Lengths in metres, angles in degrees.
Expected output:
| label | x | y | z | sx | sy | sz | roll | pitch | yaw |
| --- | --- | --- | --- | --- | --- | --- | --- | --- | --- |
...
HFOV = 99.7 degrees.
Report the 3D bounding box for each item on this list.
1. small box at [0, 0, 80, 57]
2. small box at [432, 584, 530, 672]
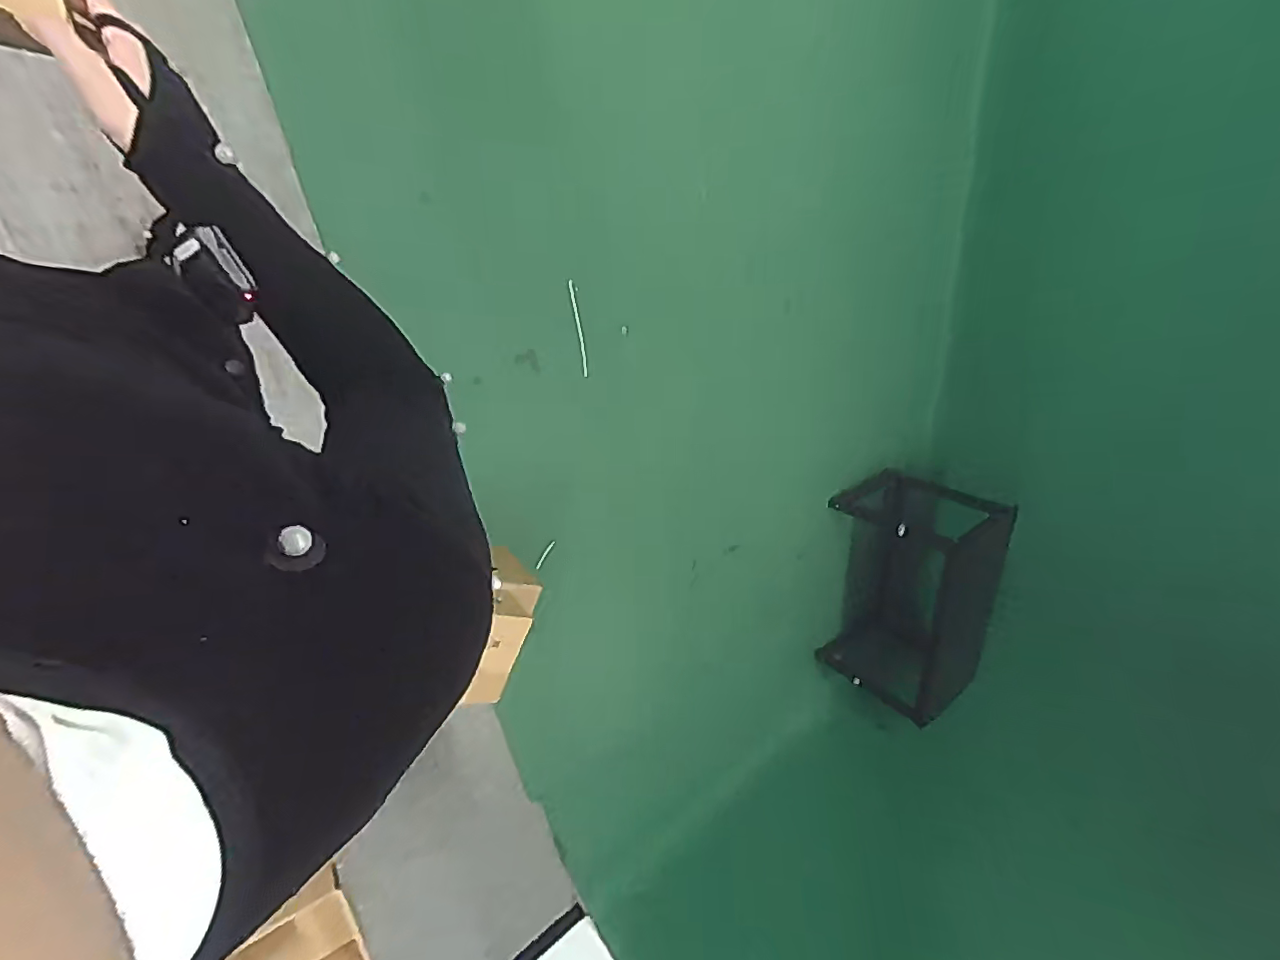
| label | x | y | z | sx | sy | sz | roll | pitch | yaw |
| --- | --- | --- | --- | --- | --- | --- | --- | --- | --- |
| small box | -0.518 | -0.427 | 0.366 | 0.168 | 0.176 | 0.179 | -11 | 119 | -39 |
| small box | -0.437 | 0.398 | 1.467 | 0.179 | 0.176 | 0.168 | 21 | 95 | -42 |
